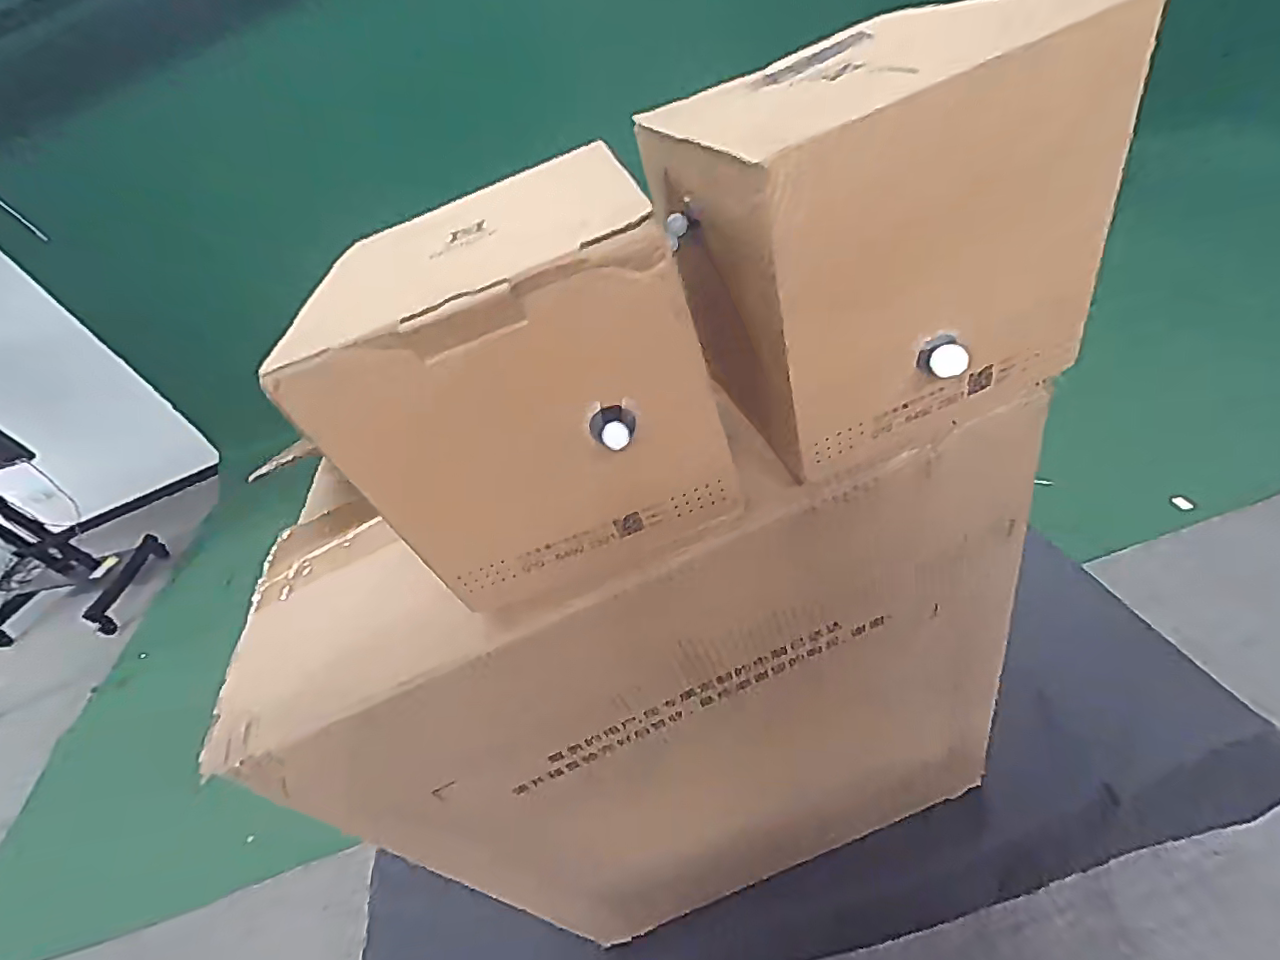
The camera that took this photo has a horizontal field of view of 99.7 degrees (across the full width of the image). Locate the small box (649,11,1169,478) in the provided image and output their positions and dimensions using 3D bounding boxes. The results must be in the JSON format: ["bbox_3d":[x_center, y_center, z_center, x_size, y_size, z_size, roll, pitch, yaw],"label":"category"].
[{"bbox_3d":[0.122,-0.132,0.314,0.168,0.176,0.179,-23,41,0],"label":"small box"}]
